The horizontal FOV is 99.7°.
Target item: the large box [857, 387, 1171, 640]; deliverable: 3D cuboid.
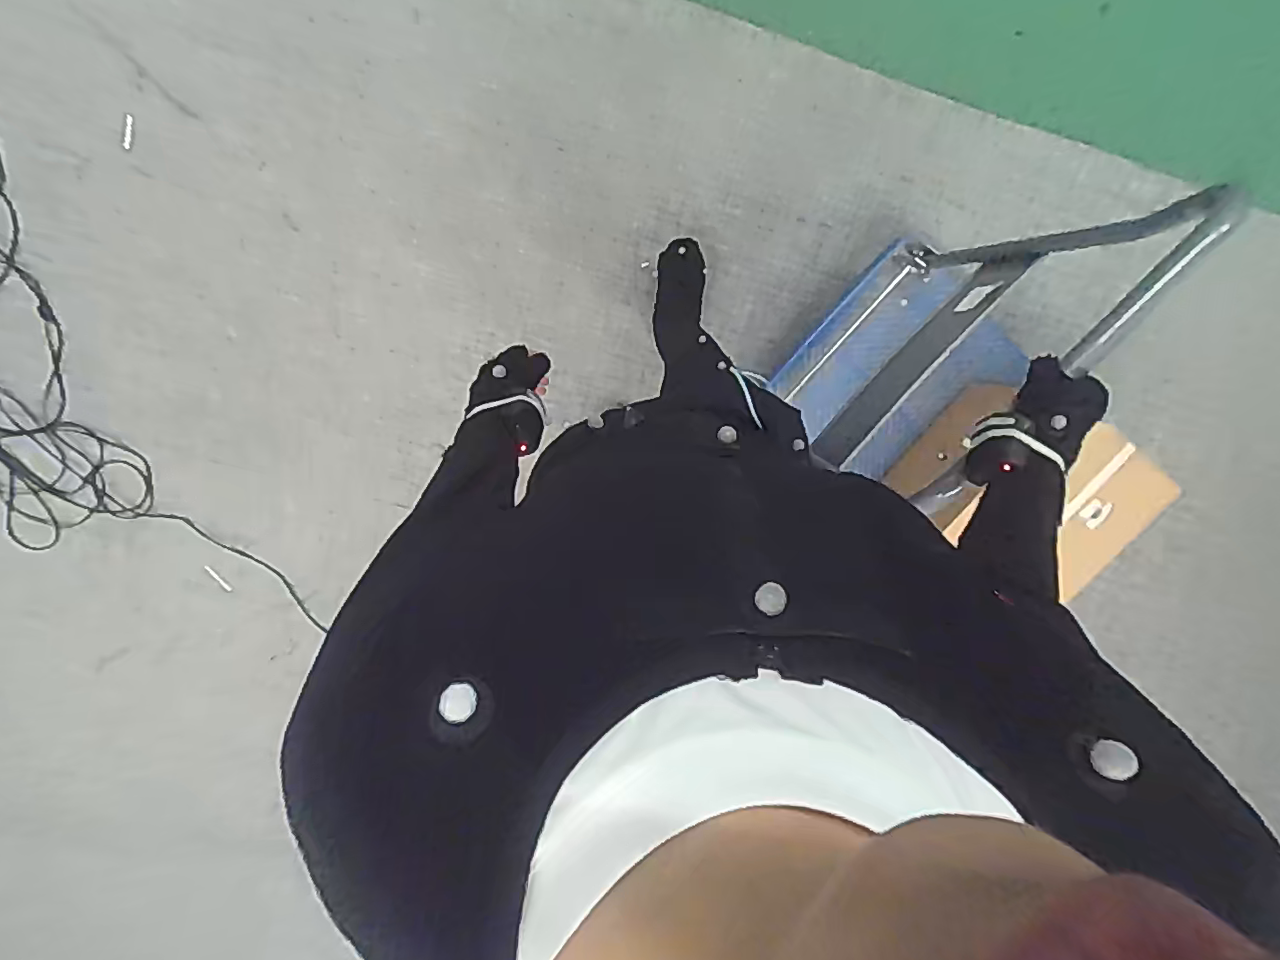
[{"bbox_3d":[0.768,0.051,1.178,0.320,0.320,0.408,37,99,-11],"label":"large box"}]
